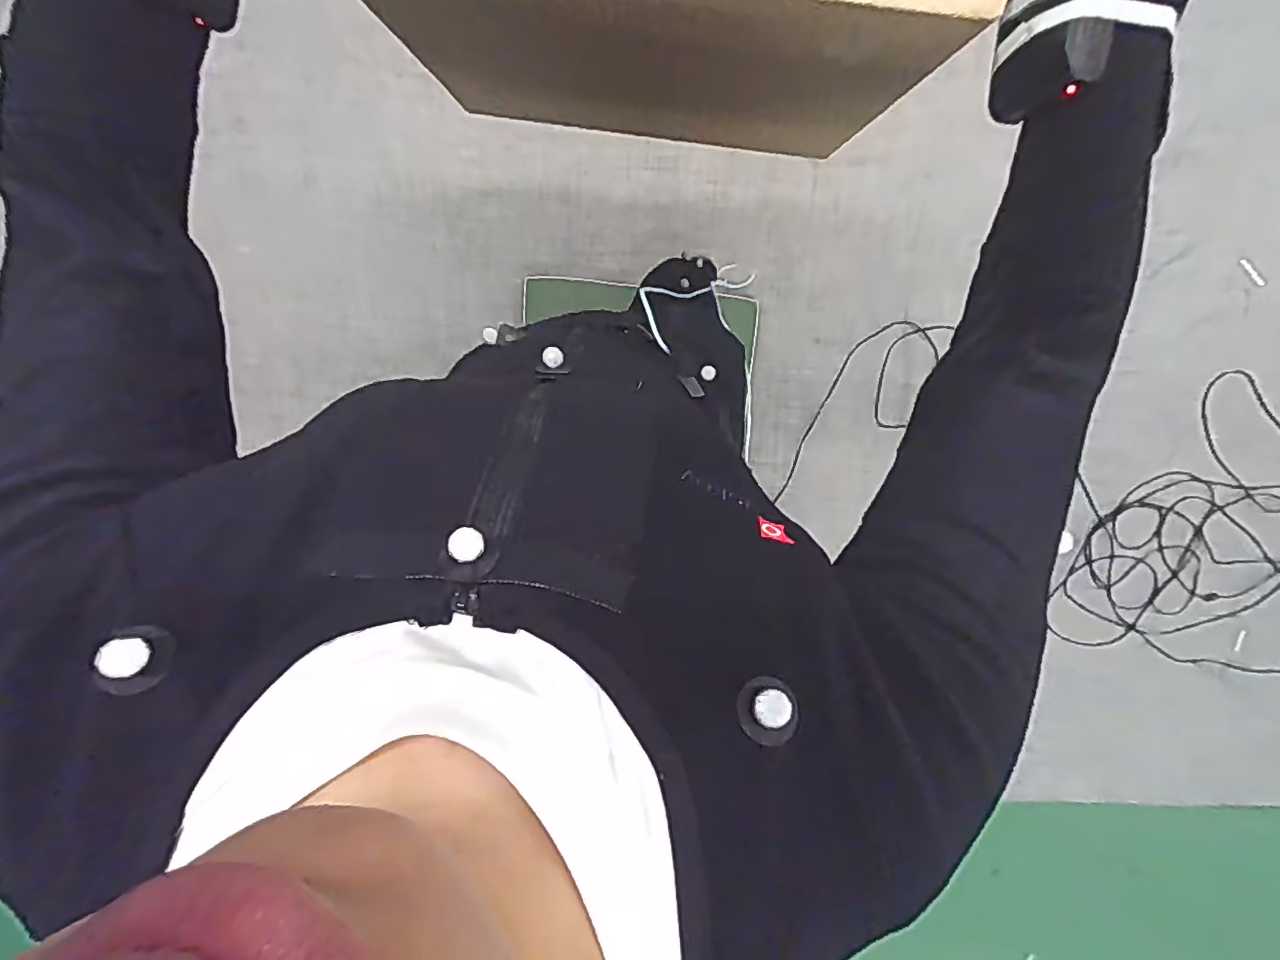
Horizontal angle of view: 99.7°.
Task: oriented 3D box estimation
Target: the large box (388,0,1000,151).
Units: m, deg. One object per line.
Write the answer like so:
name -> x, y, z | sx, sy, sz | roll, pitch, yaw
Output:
large box -> 0.030, -0.483, 0.414 | 0.408, 0.320, 0.320 | 6, 108, -2
